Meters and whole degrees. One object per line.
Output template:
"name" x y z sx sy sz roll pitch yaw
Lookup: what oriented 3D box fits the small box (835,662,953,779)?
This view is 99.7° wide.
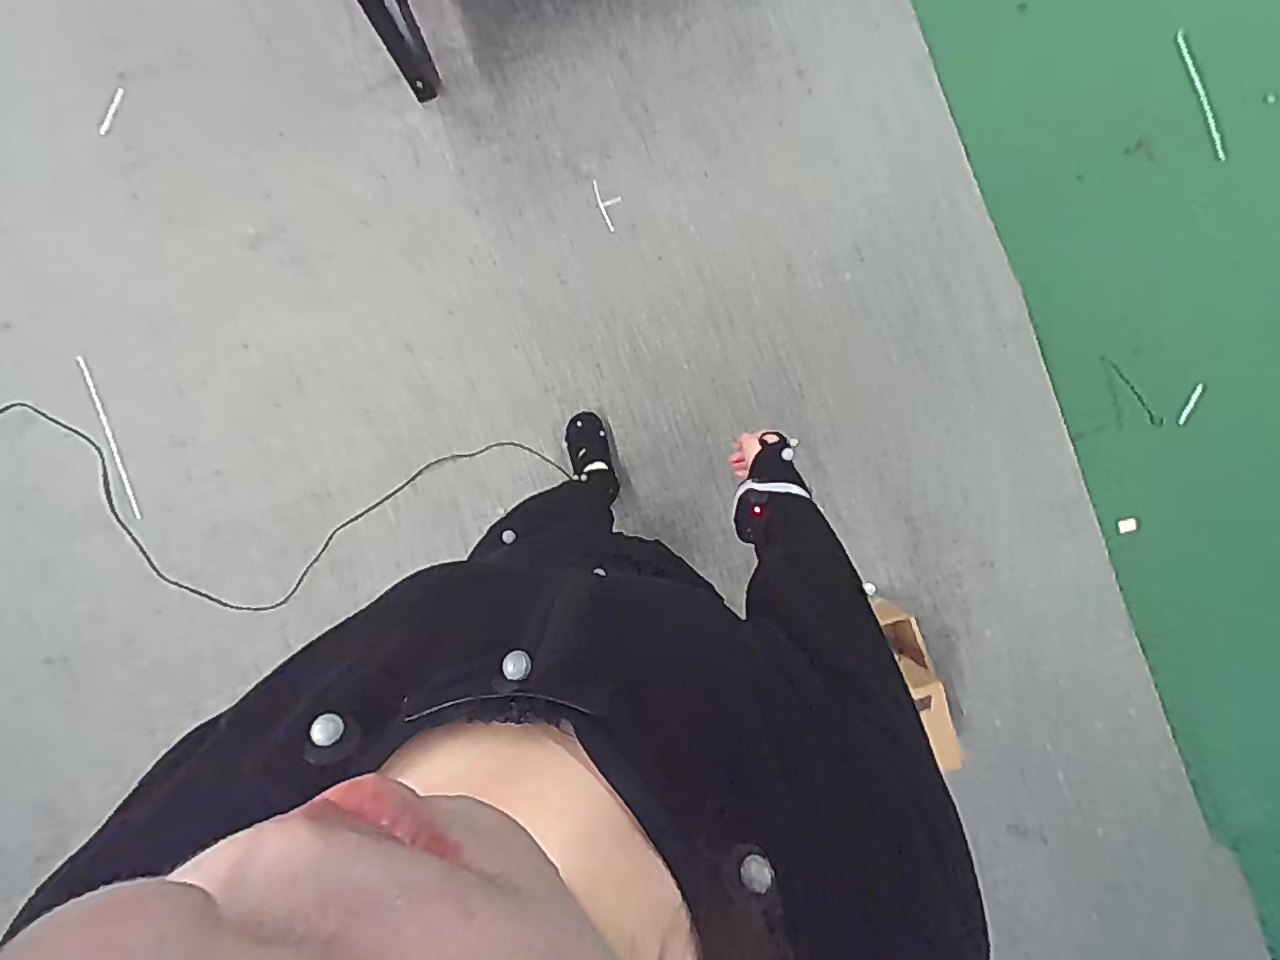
"small box" 0.554 0.521 1.203 0.168 0.176 0.179 -13 91 1
